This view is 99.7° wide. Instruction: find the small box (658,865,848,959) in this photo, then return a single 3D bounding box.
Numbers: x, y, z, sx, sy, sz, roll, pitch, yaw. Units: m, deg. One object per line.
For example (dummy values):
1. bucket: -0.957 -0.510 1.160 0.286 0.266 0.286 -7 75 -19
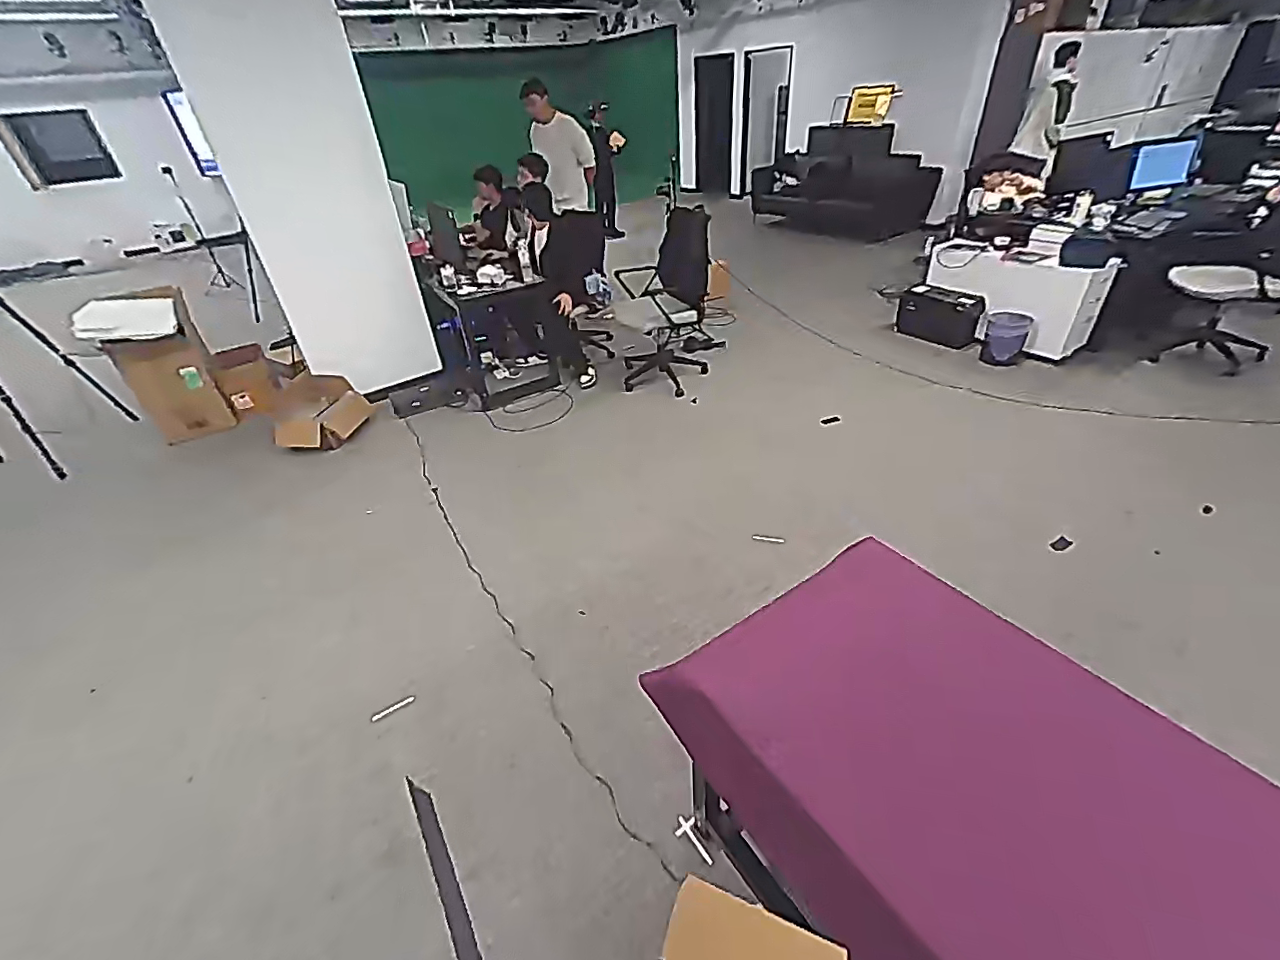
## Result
1. small box: 0.096 0.542 0.556 0.168 0.176 0.179 17 50 15
